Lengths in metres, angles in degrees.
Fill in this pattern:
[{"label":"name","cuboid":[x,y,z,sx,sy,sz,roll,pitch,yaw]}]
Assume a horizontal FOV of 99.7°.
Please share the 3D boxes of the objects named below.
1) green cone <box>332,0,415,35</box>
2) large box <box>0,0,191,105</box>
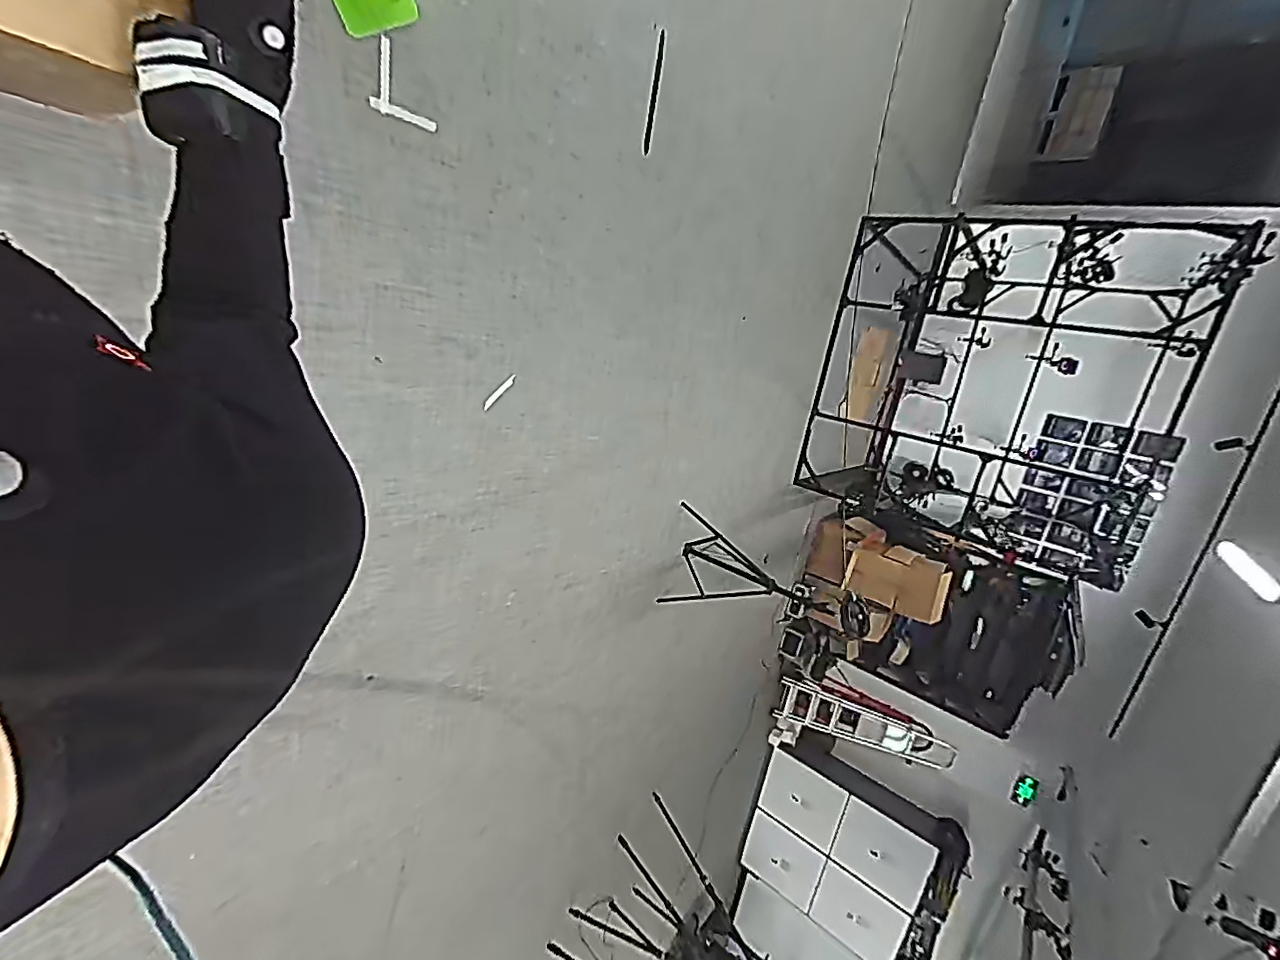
[{"label":"green cone","cuboid":[-0.482,-1.075,1.102,0.202,0.368,0.200,-49,142,-29]},{"label":"large box","cuboid":[-0.535,-0.454,0.274,0.408,0.320,0.320,-10,117,-54]}]
